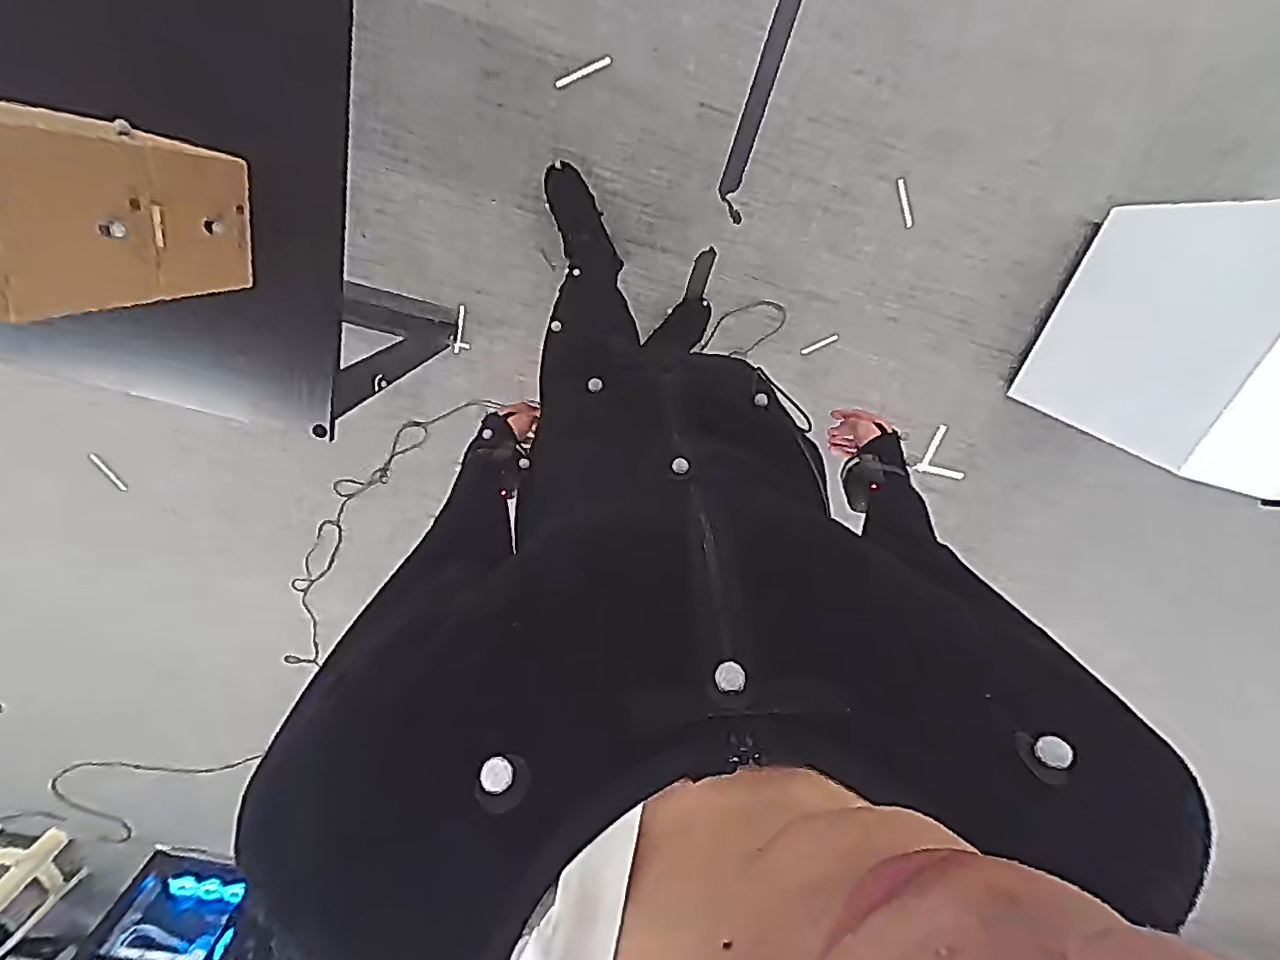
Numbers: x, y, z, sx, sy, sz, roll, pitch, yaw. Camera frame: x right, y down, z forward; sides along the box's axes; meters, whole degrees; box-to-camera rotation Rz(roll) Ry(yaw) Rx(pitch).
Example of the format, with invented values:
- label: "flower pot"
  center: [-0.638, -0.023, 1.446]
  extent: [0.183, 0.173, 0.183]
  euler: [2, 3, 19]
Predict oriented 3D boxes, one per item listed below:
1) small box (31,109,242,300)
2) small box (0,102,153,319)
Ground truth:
- label: "small box"
  center: [-0.621, -0.334, 0.659]
  extent: [0.179, 0.176, 0.168]
  euler: [12, 114, -6]
- label: "small box"
  center: [-0.623, -0.264, 0.509]
  extent: [0.179, 0.176, 0.168]
  euler: [13, 115, -6]
